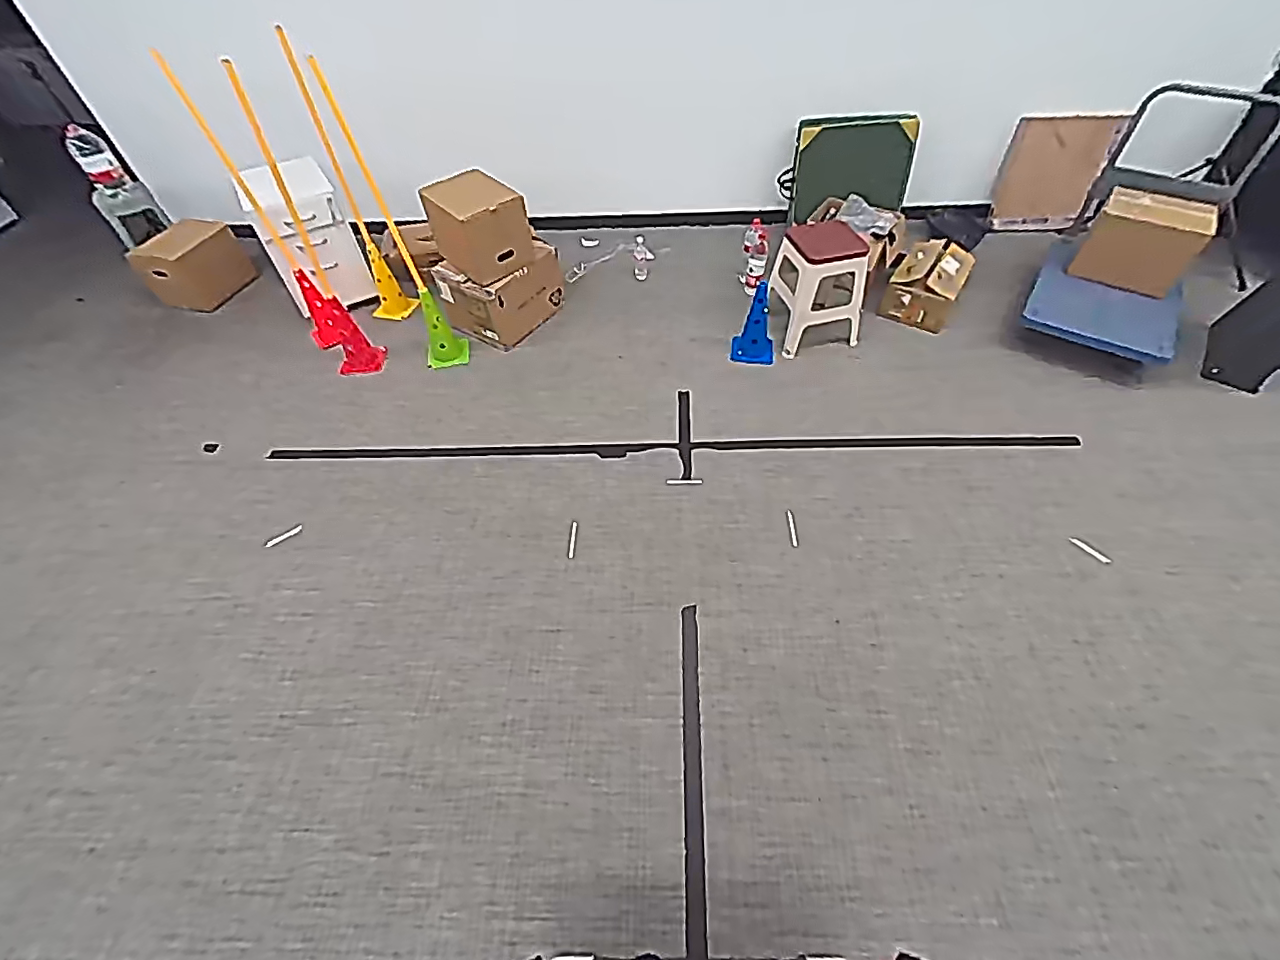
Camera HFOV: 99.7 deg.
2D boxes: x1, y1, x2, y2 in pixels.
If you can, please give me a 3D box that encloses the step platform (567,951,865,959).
[{"bbox_3d":[0.161,1.139,1.085,0.684,0.204,0.286,-1,51,0],"label":"step platform"}]
